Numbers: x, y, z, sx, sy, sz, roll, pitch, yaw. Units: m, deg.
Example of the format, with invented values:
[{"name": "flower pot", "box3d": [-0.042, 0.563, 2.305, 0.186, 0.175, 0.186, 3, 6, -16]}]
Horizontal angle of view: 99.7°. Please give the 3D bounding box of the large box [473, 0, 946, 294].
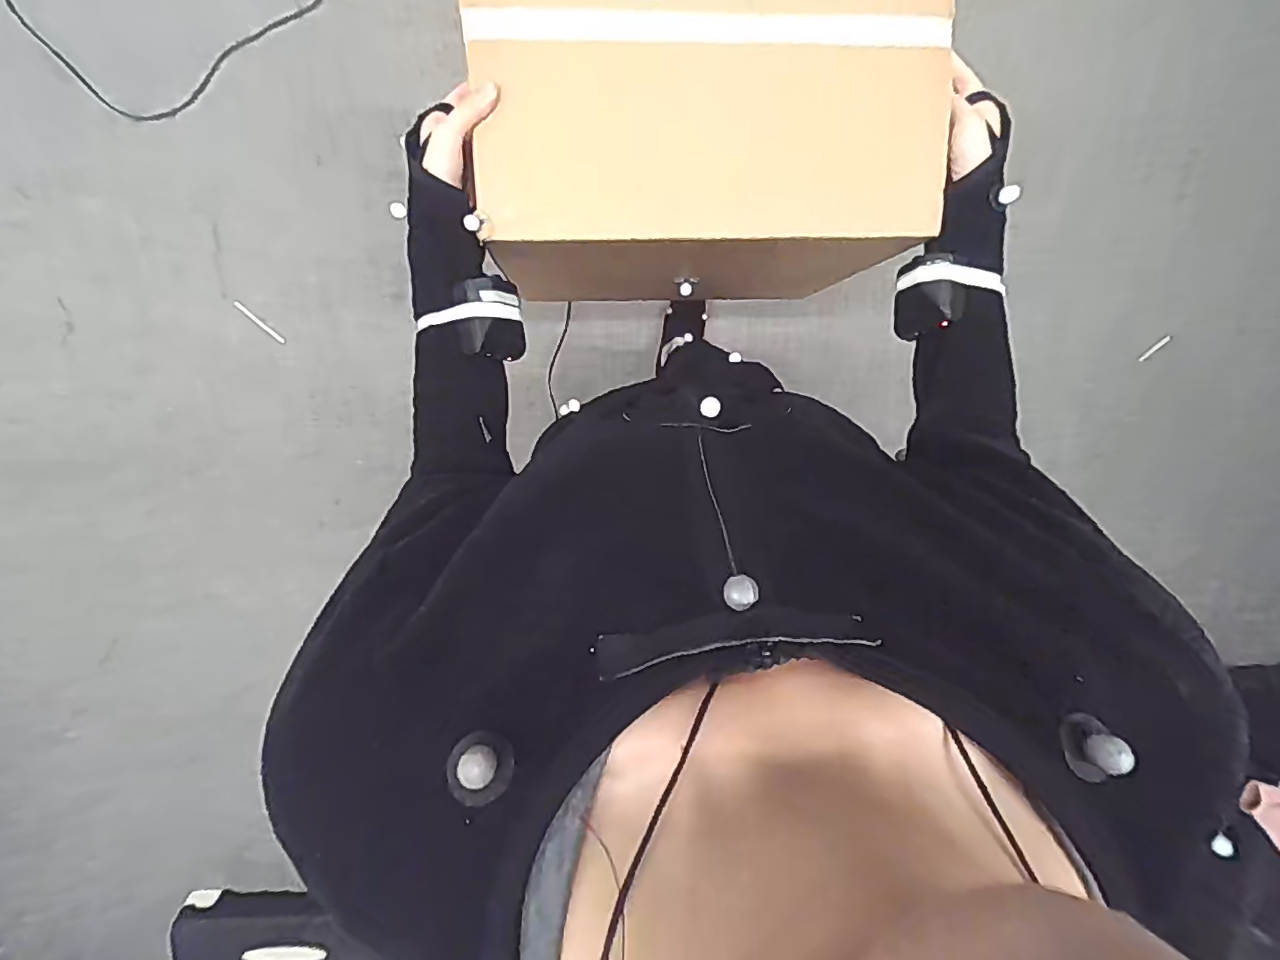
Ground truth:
[{"name": "large box", "box3d": [0.055, -0.395, 0.600, 0.408, 0.320, 0.320, -3, 99, -4]}]
